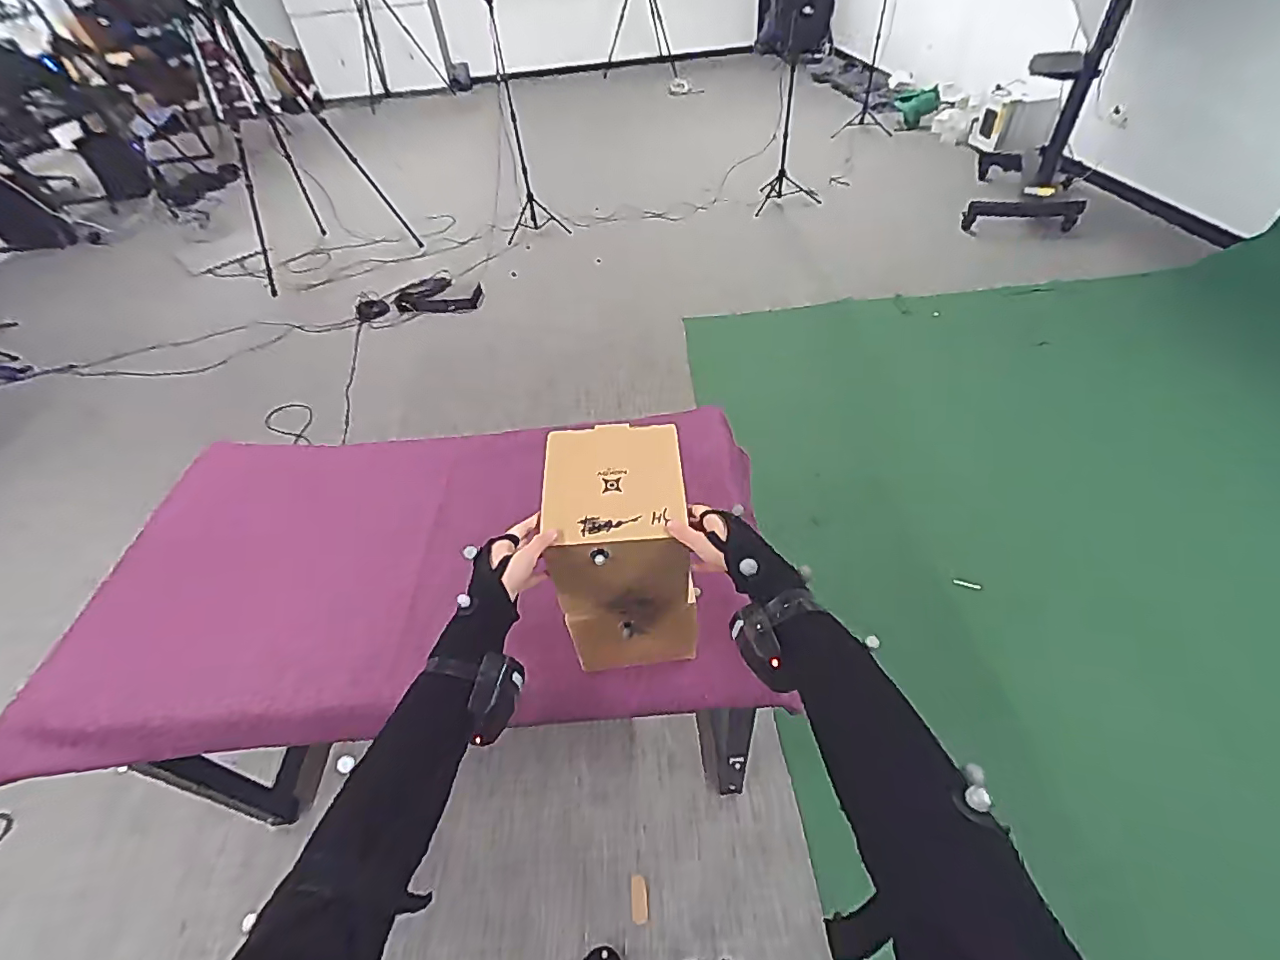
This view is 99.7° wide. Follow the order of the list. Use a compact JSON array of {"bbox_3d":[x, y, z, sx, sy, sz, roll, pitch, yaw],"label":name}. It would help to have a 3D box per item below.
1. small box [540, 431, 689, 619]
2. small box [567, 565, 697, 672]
[{"bbox_3d":[-0.026,0.060,0.702,0.168,0.176,0.179,-5,50,2],"label":"small box"},{"bbox_3d":[-0.009,0.175,0.825,0.179,0.176,0.168,-9,47,1],"label":"small box"}]
